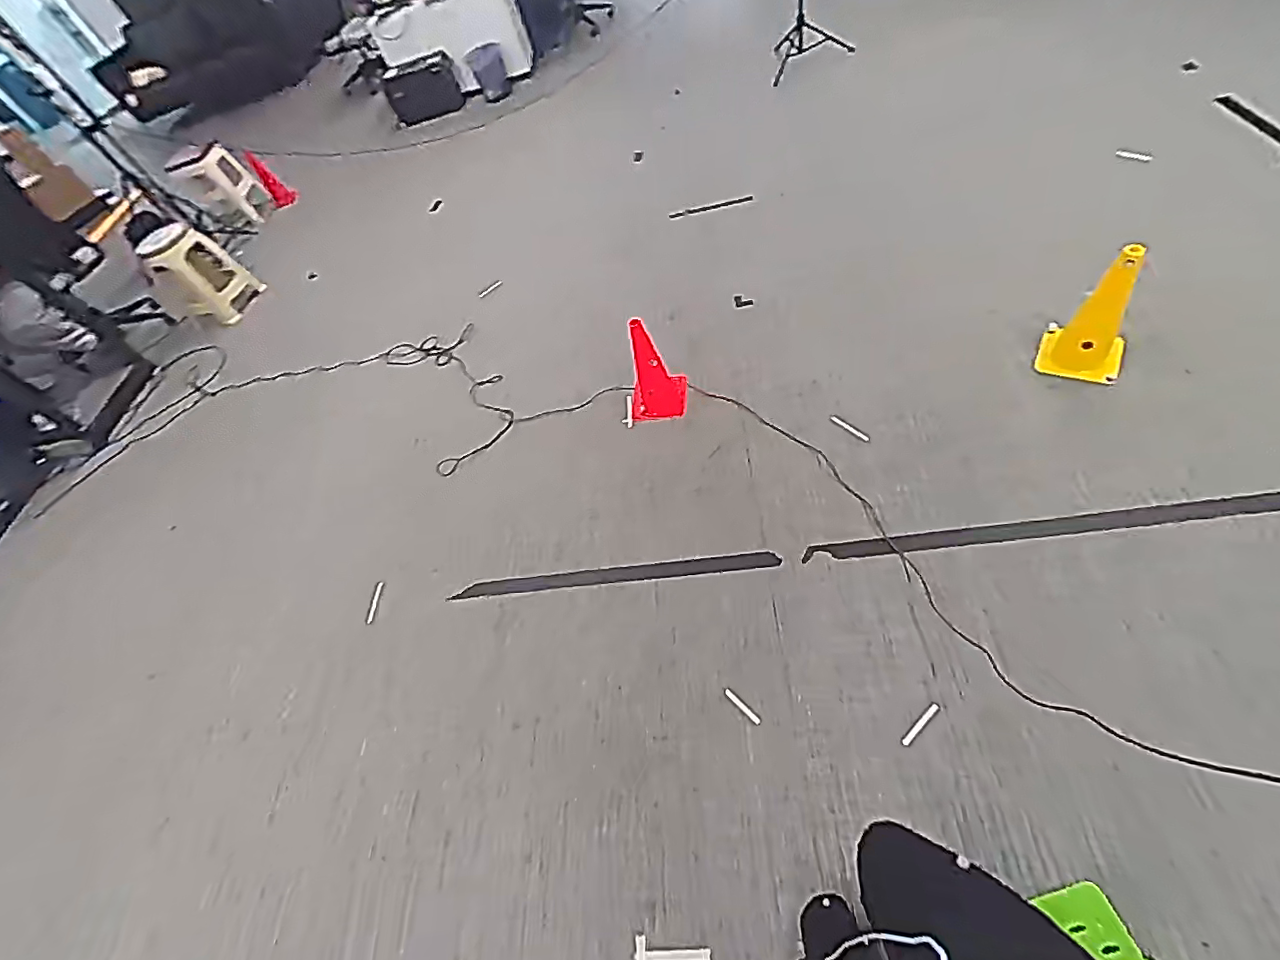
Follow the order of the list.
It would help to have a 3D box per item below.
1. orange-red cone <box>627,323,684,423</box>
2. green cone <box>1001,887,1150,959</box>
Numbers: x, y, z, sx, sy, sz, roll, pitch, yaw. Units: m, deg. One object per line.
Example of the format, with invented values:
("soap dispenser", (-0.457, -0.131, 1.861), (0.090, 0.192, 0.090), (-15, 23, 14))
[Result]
("orange-red cone", (0.021, -0.383, 1.829), (0.199, 0.360, 0.198), (-2, 56, 14))
("green cone", (0.735, 0.757, 0.807), (0.202, 0.368, 0.200), (-23, 52, 3))
